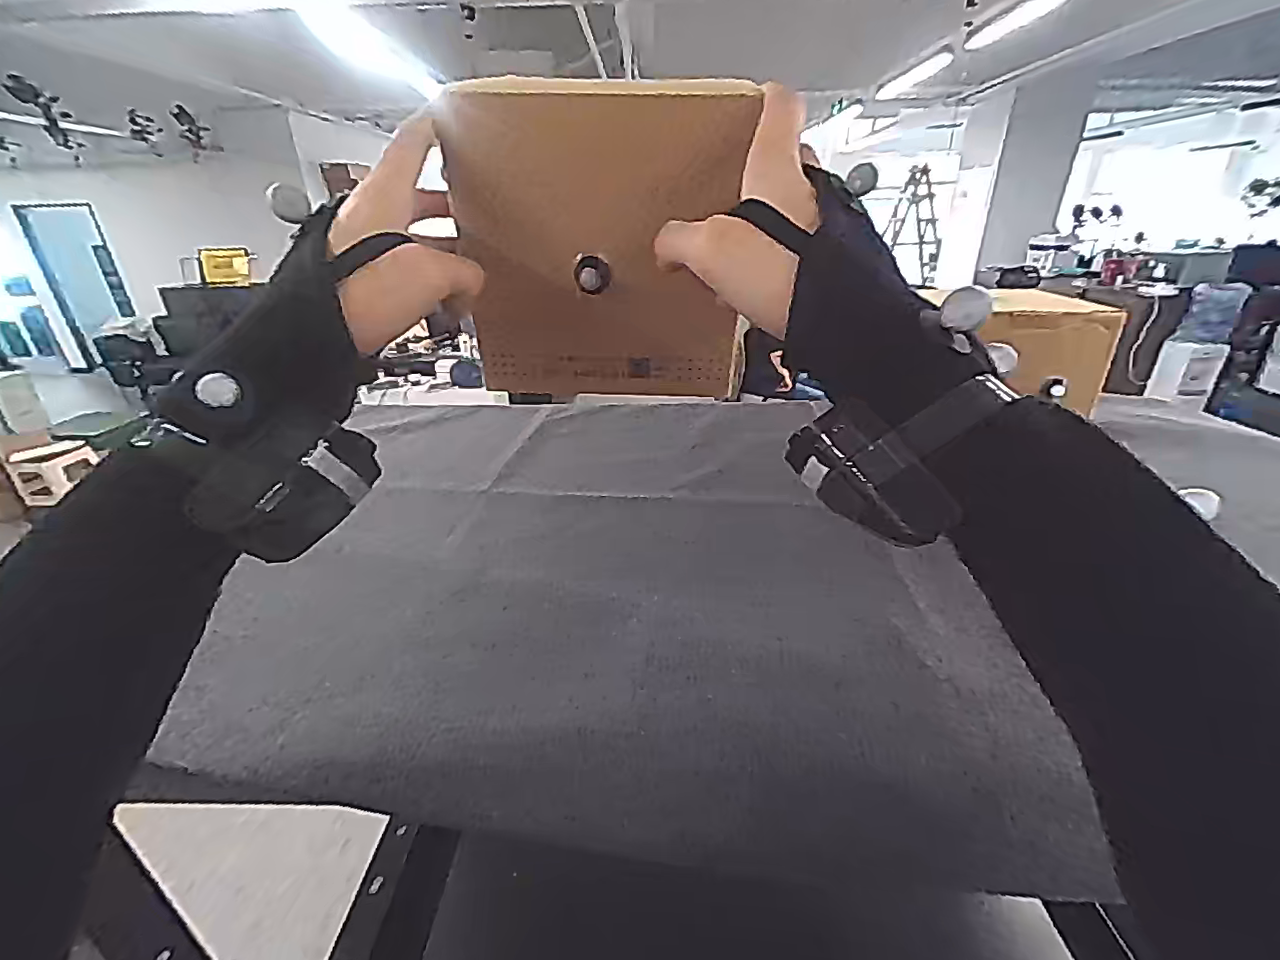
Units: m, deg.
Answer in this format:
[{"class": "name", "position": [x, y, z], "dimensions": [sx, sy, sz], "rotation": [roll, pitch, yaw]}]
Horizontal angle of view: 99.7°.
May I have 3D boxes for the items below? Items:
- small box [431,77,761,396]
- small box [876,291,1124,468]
[{"class": "small box", "position": [-0.017, -0.169, 0.373], "dimensions": [0.168, 0.176, 0.179], "rotation": [2, 38, 2]}, {"class": "small box", "position": [0.393, -0.121, 0.631], "dimensions": [0.168, 0.176, 0.179], "rotation": [3, 26, 6]}]
